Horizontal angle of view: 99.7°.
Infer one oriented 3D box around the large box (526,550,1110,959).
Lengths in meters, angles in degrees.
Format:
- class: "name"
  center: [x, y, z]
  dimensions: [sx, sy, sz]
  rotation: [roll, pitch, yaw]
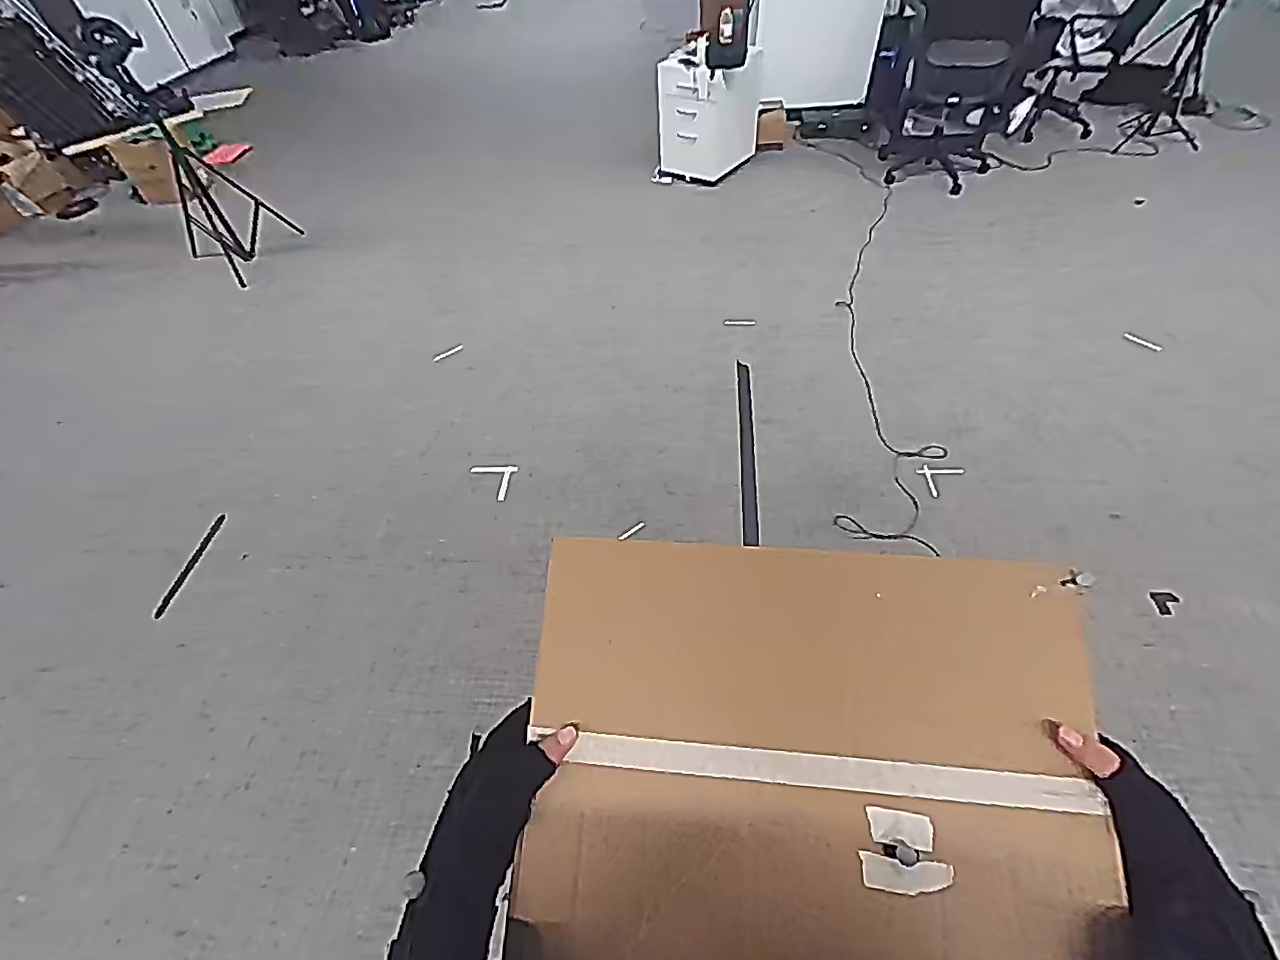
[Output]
- class: "large box"
  center: [0.135, 0.257, 0.550]
  dimensions: [0.408, 0.320, 0.320]
  rotation: [2, 74, 7]
